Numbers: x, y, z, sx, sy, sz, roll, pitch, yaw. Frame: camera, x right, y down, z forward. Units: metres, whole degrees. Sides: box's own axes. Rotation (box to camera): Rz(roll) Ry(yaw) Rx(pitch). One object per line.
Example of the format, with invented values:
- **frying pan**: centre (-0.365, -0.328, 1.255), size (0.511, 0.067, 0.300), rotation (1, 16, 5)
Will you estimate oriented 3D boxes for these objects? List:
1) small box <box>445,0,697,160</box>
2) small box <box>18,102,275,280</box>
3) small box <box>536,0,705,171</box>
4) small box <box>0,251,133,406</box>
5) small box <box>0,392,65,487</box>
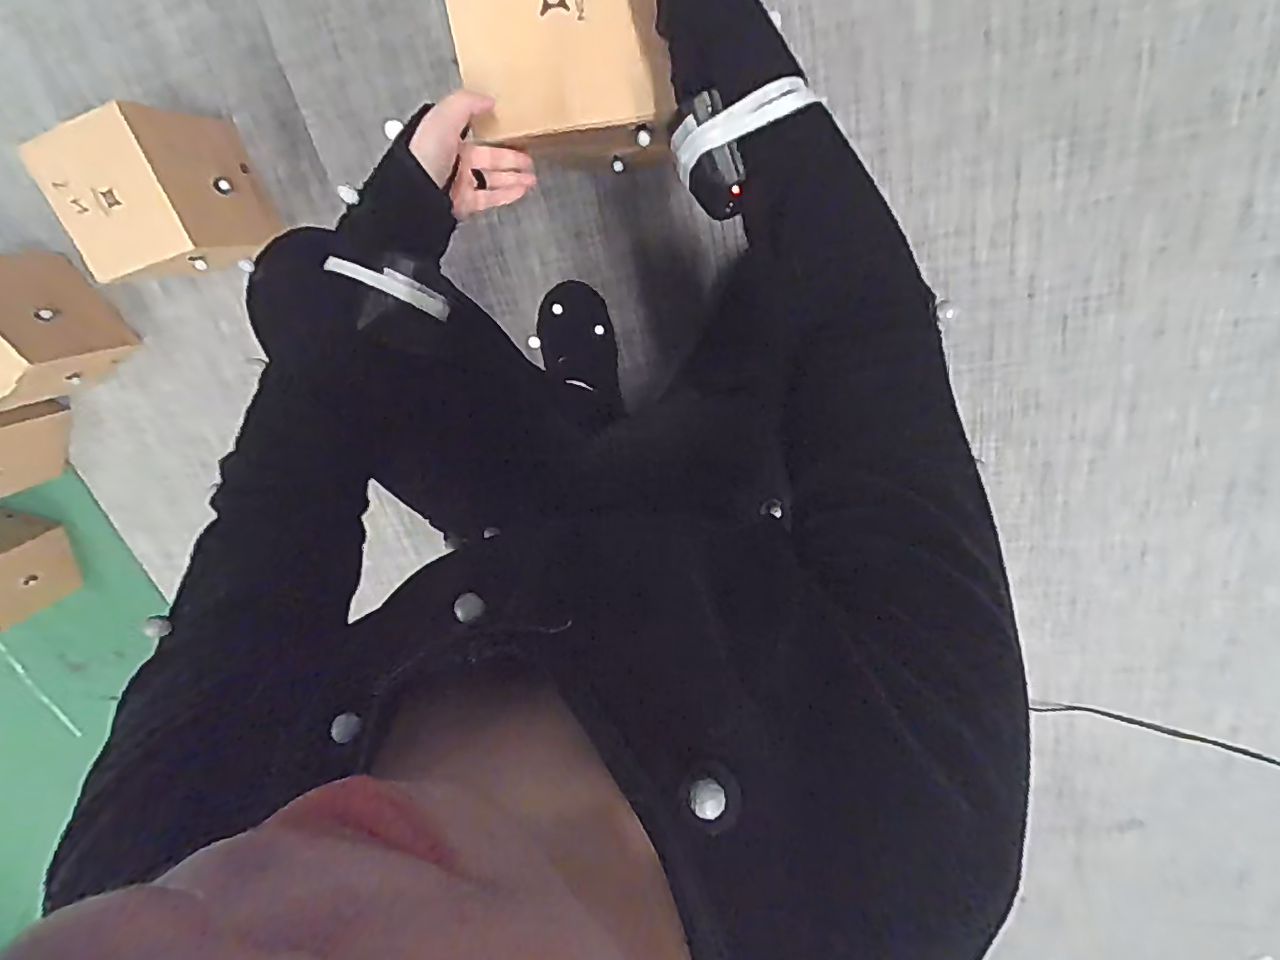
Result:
- **small box**: centre (-0.046, -0.381, 0.459), size (0.179, 0.176, 0.168), rotation (-2, 115, 10)
- **small box**: centre (-0.651, -0.388, 0.746), size (0.179, 0.176, 0.168), rotation (-10, 113, 14)
- **small box**: centre (-0.021, -0.450, 0.606), size (0.179, 0.176, 0.168), rotation (1, 117, 9)
- **small box**: centre (-1.000, -0.249, 0.878), size (0.168, 0.176, 0.179), rotation (-25, 109, 20)
- **small box**: centre (-1.227, -0.092, 0.995), size (0.168, 0.176, 0.179), rotation (34, 116, -6)
